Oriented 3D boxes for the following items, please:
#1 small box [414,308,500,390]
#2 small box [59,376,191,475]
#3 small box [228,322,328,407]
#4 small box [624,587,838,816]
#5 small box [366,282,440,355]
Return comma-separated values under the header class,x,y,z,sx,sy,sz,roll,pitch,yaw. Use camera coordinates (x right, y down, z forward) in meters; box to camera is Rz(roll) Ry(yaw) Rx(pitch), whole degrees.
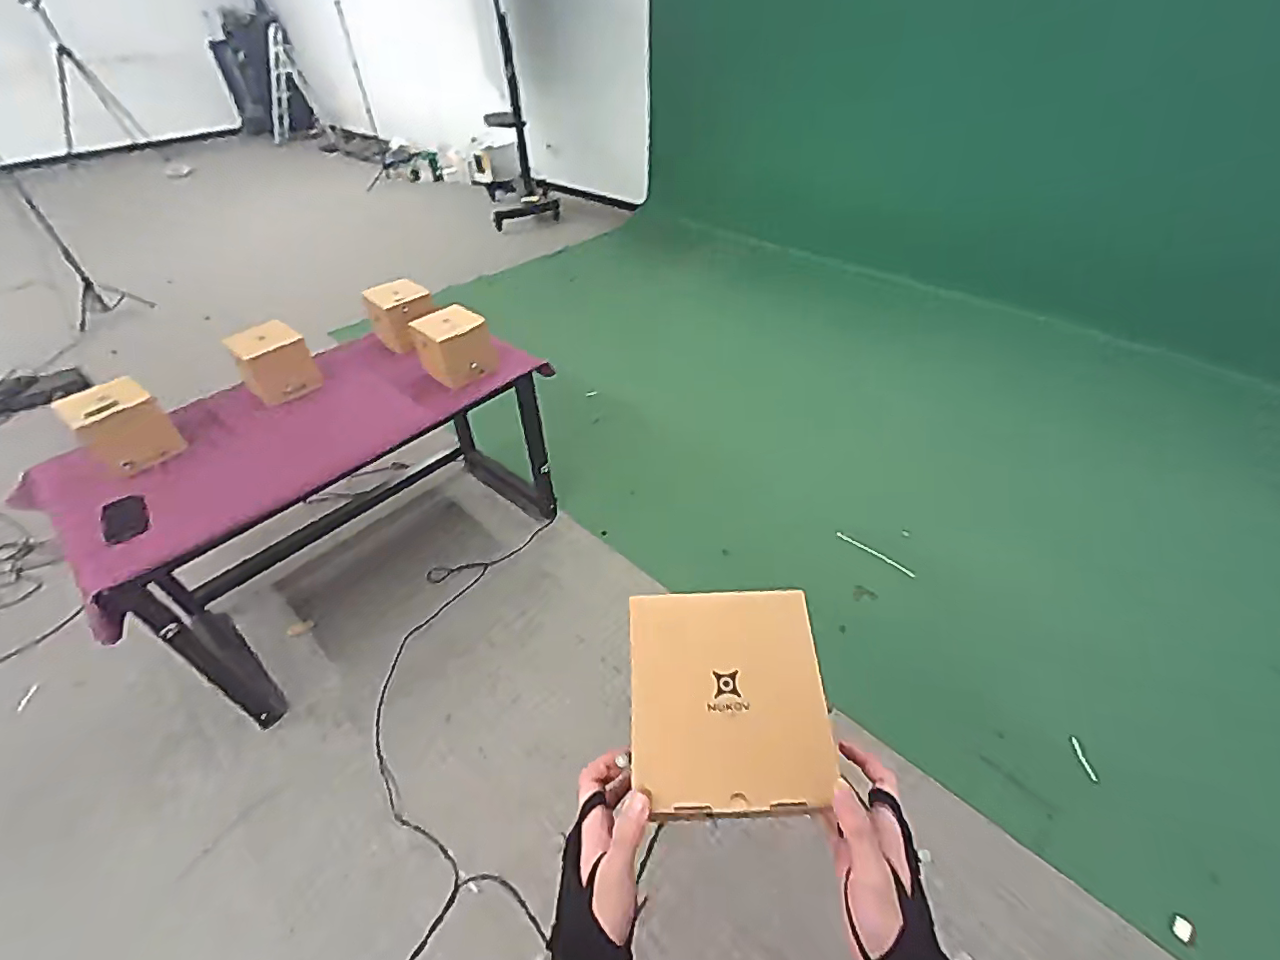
class,x,y,z,sx,sy,sz,roll,pitch,yaw
small box,-0.559,-0.401,1.663,0.179,0.176,0.168,33,54,32
small box,-1.315,-0.137,1.392,0.179,0.176,0.168,27,49,28
small box,-1.078,-0.345,1.619,0.179,0.176,0.168,31,52,29
small box,0.067,0.218,0.524,0.168,0.176,0.179,-2,57,-1
small box,-0.787,-0.544,1.831,0.179,0.176,0.168,33,53,32
